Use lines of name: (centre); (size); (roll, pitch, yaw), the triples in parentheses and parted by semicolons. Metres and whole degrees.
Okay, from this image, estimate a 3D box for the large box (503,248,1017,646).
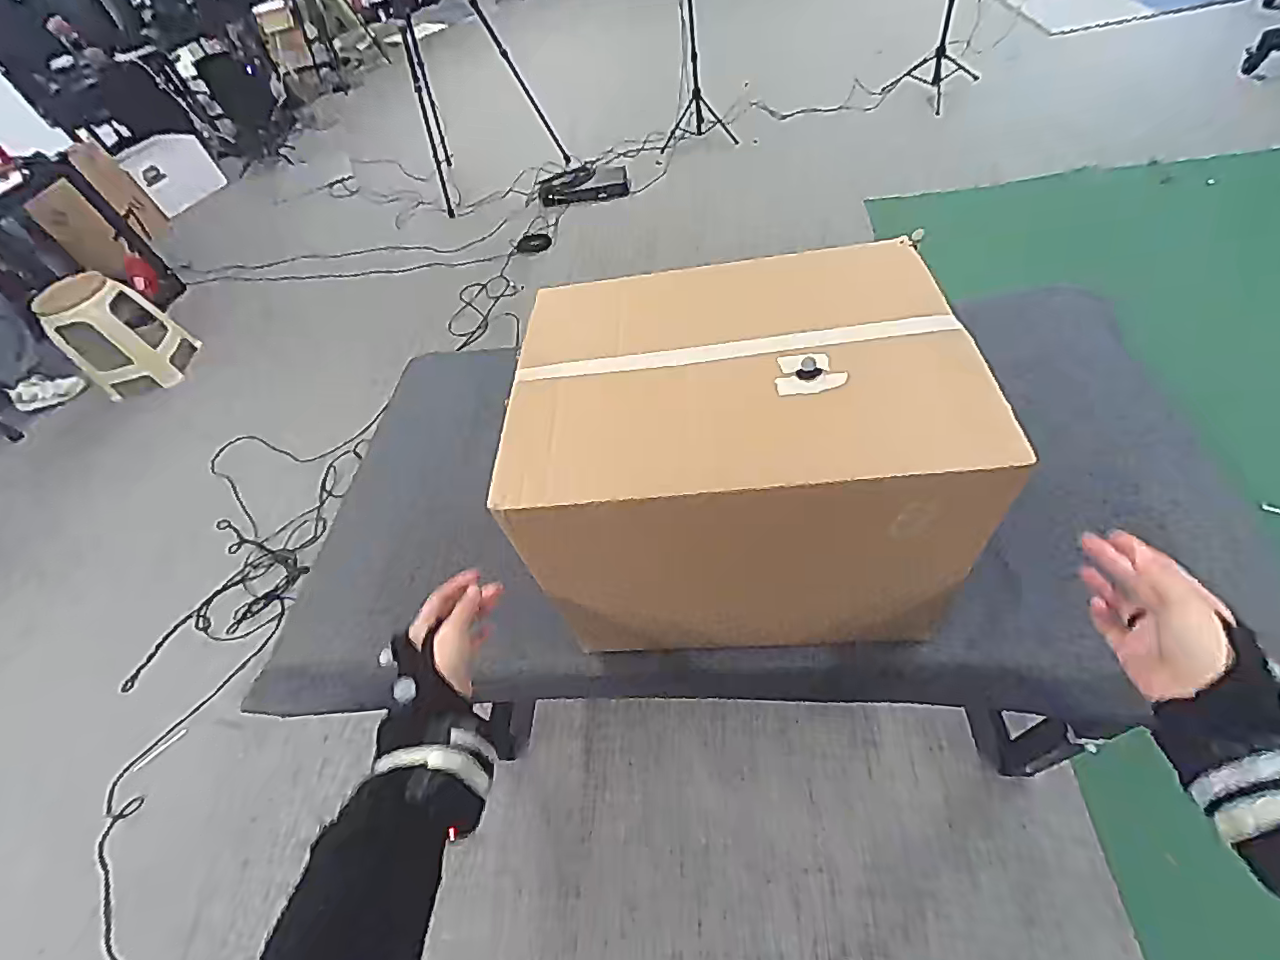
large box: (0.105, -0.021, 0.624); (0.408, 0.320, 0.320); (-5, 51, 8)
